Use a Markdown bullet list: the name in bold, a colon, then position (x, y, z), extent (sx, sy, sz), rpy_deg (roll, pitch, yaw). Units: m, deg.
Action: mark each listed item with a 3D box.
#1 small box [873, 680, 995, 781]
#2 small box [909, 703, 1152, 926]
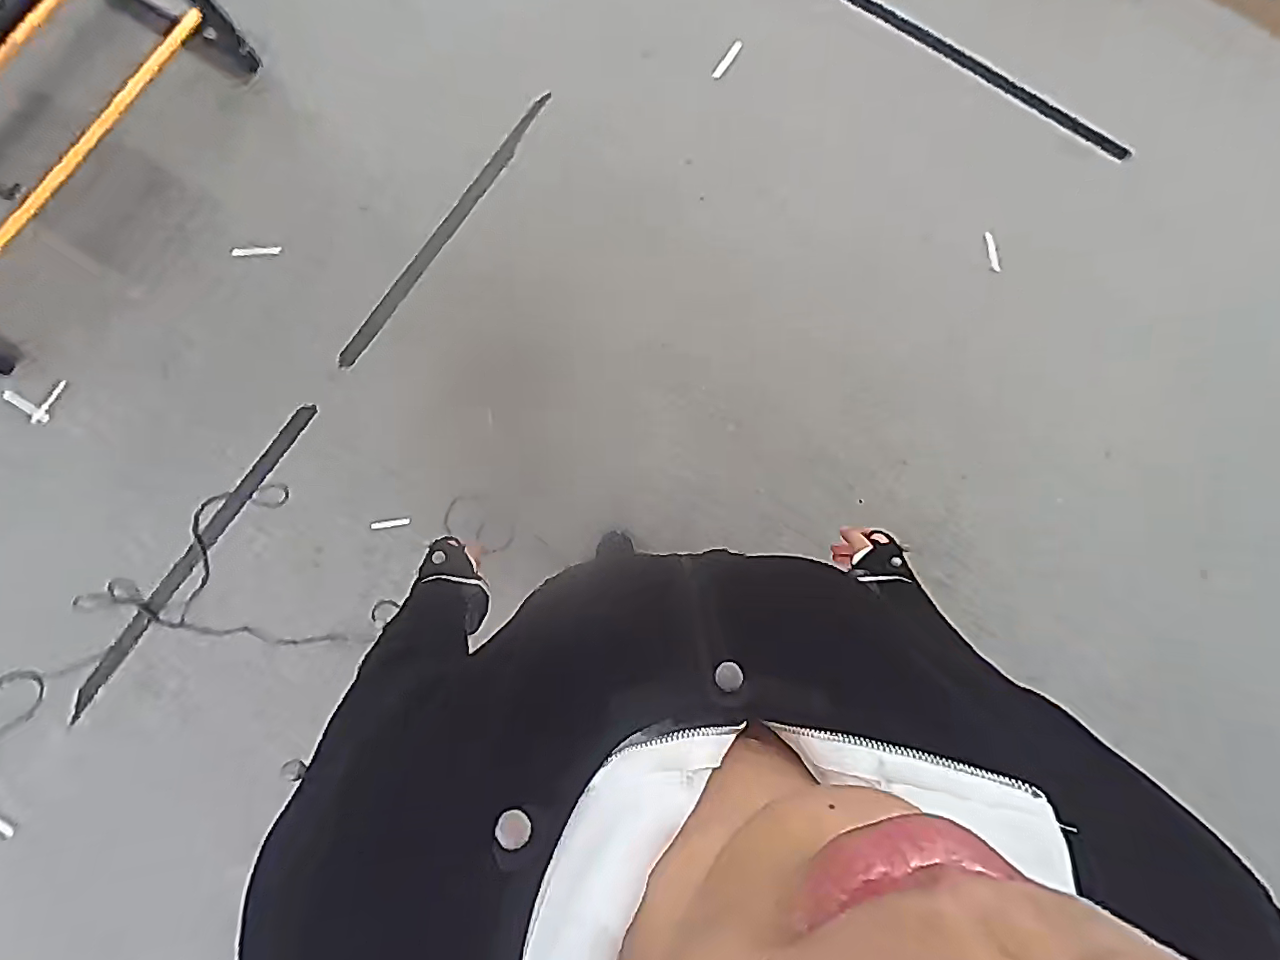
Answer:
- **small box**: position (0.529, 0.459, 0.906), extent (0.179, 0.176, 0.168), rpy_deg (35, 82, 6)
- **small box**: position (0.518, 0.436, 0.744), extent (0.179, 0.176, 0.168), rpy_deg (35, 81, 6)
